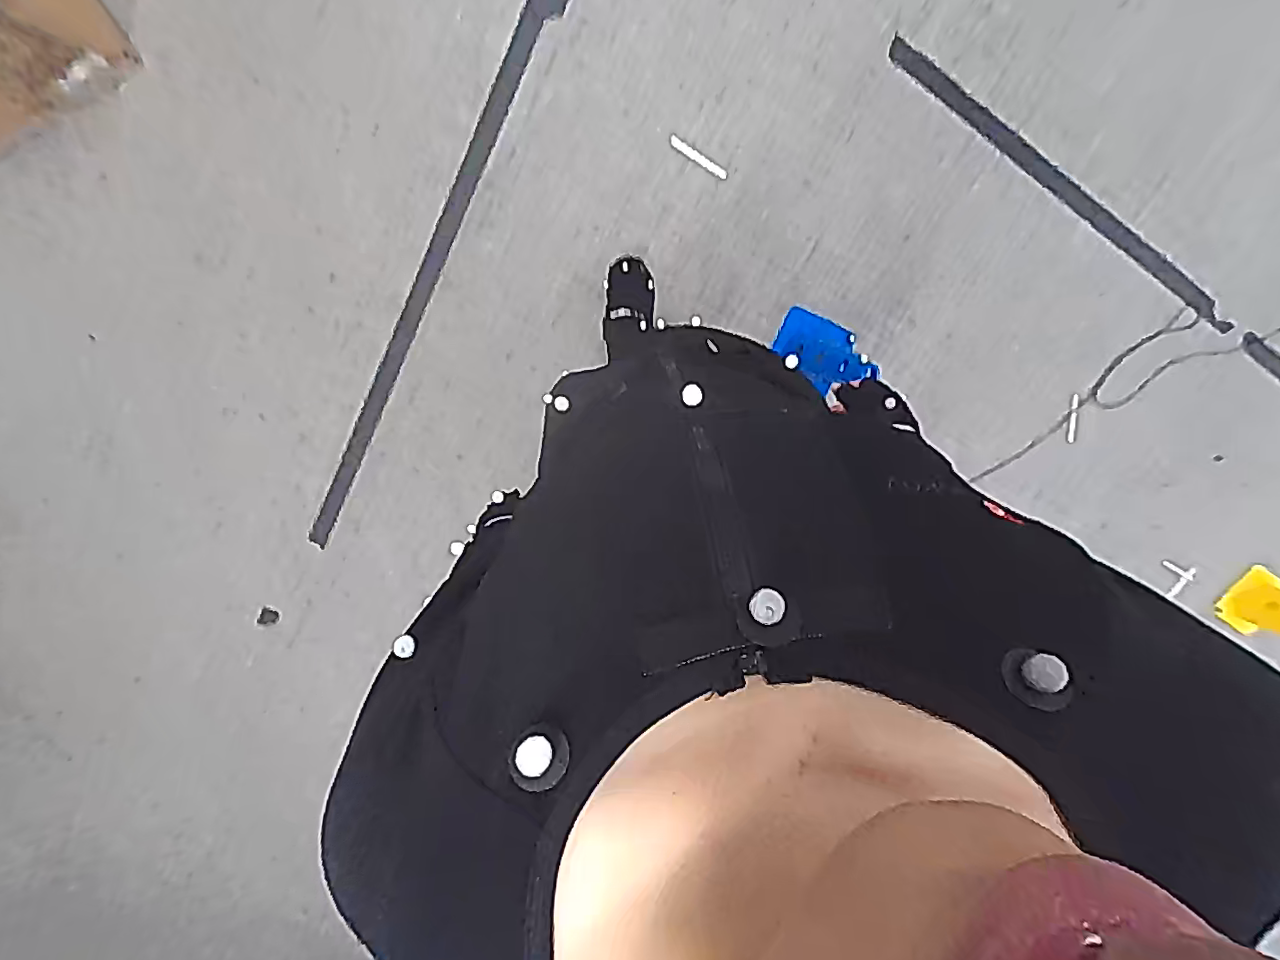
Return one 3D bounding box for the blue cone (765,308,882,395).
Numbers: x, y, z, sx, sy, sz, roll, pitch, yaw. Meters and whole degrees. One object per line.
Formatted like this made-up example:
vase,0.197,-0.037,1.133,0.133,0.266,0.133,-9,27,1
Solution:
blue cone,0.447,-0.278,1.247,0.193,0.380,0.192,22,105,-10
